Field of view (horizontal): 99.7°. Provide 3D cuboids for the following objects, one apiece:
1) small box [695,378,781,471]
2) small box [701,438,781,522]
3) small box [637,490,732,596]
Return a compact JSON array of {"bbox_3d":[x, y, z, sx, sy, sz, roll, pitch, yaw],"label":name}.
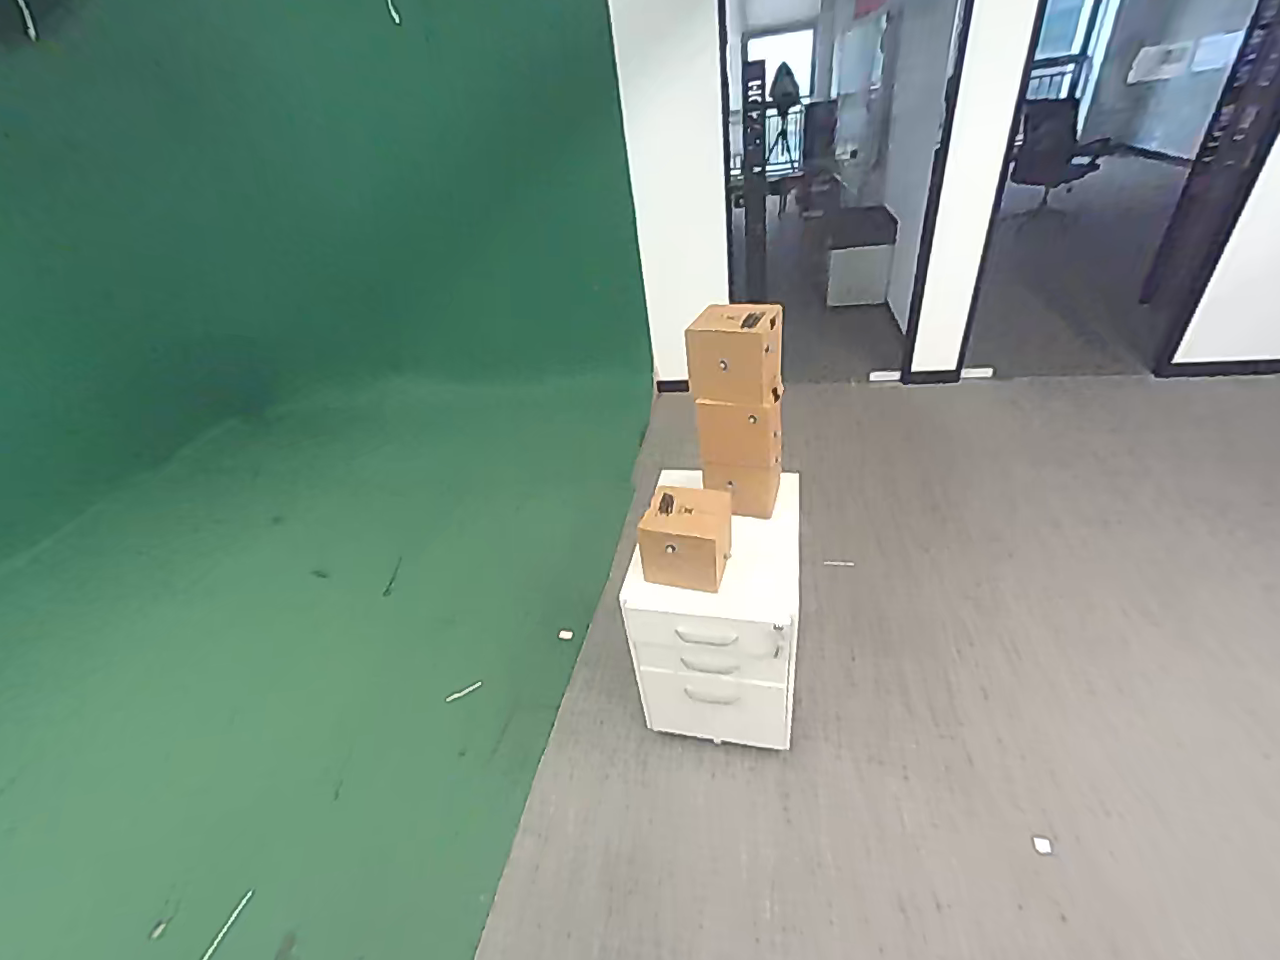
[{"bbox_3d":[0.245,-0.136,1.326,0.179,0.176,0.168,6,38,20],"label":"small box"},{"bbox_3d":[0.271,-0.006,1.420,0.179,0.176,0.168,6,38,21],"label":"small box"},{"bbox_3d":[0.109,0.144,1.242,0.179,0.176,0.168,7,37,19],"label":"small box"}]
